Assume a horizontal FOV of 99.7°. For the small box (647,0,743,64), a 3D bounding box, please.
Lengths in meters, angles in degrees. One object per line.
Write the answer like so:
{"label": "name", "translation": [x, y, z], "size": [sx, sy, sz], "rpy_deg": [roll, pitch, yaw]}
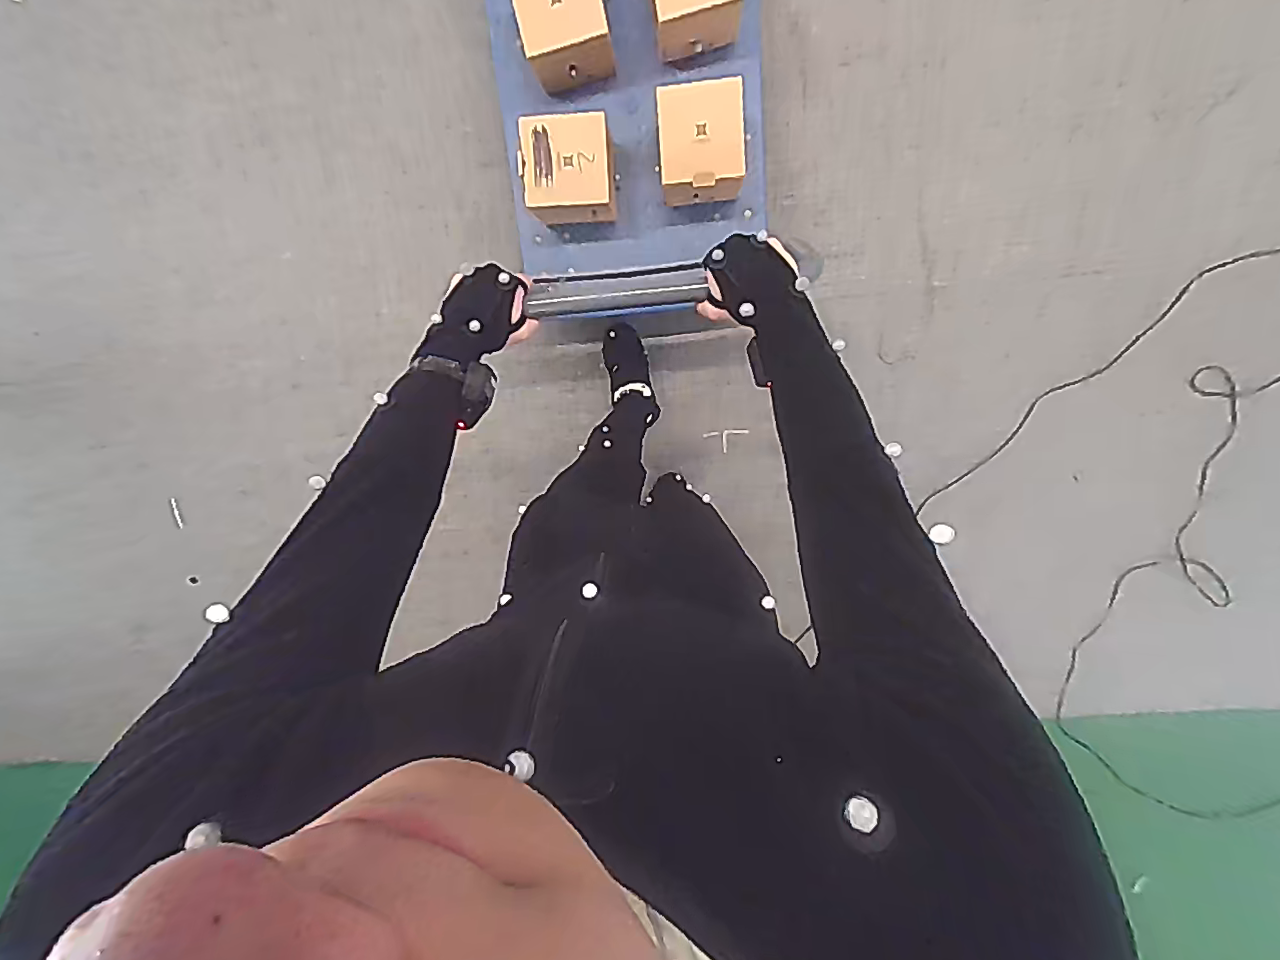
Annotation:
{"label": "small box", "translation": [0.098, -0.969, 1.058], "size": [0.168, 0.176, 0.179], "rpy_deg": [-11, 105, 7]}

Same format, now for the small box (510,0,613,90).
{"label": "small box", "translation": [-0.156, -0.923, 1.086], "size": [0.168, 0.176, 0.179], "rpy_deg": [-12, 104, 6]}

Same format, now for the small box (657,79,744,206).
{"label": "small box", "translation": [0.122, -0.693, 1.130], "size": [0.168, 0.176, 0.179], "rpy_deg": [-4, 105, 5]}
